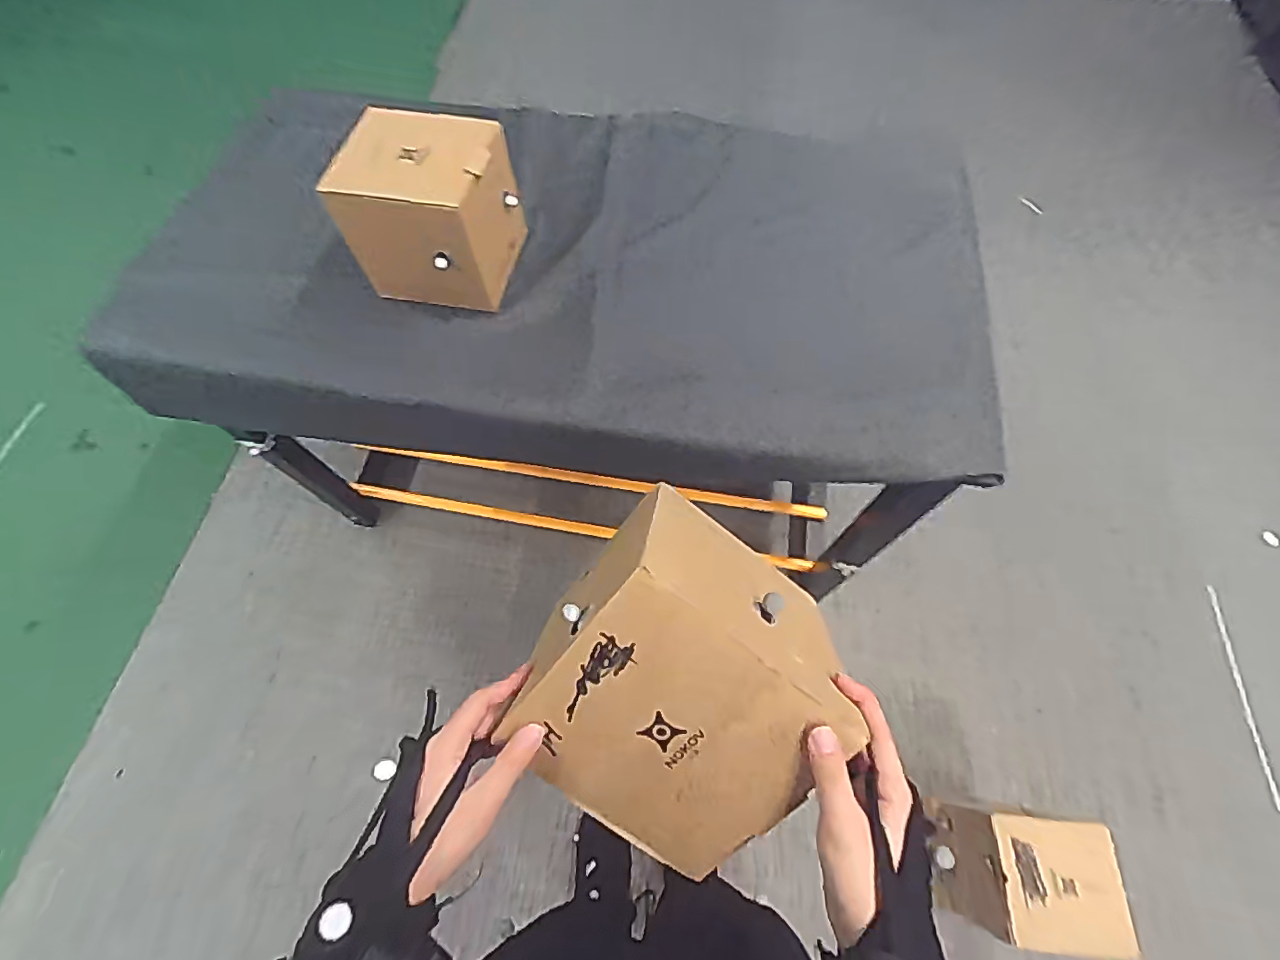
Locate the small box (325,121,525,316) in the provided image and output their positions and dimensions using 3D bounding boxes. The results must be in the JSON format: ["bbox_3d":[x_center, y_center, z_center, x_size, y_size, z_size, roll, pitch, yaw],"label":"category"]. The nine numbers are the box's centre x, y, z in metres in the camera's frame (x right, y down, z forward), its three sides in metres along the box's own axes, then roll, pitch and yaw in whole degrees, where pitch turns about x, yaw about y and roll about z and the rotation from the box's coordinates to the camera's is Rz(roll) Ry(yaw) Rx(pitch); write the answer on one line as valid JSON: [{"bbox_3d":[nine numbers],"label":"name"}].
[{"bbox_3d":[-0.269,-0.345,0.730,0.179,0.176,0.168,8,63,6],"label":"small box"}]

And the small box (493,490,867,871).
[{"bbox_3d":[0.028,0.133,0.410,0.179,0.176,0.168,36,107,-6],"label":"small box"}]

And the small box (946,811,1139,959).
[{"bbox_3d":[0.615,0.634,0.858,0.179,0.176,0.168,4,64,2],"label":"small box"}]

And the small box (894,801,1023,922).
[{"bbox_3d":[0.604,0.704,1.007,0.179,0.176,0.168,3,63,3],"label":"small box"}]
